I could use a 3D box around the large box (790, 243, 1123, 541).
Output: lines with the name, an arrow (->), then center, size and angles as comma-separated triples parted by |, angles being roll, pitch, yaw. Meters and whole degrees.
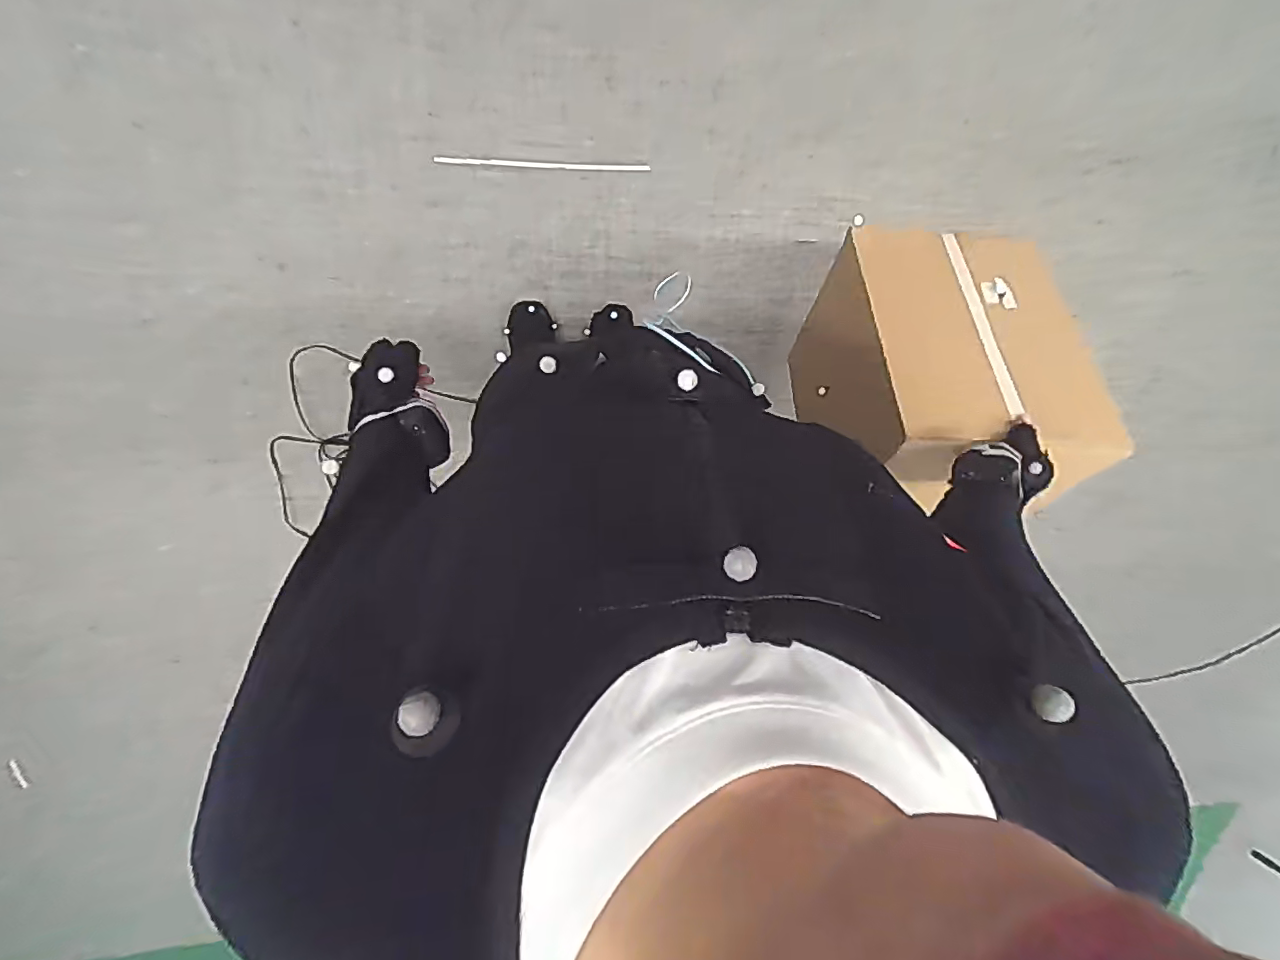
large box -> 0.476, -0.135, 0.927 | 0.320, 0.408, 0.320 | 3, 151, -5
